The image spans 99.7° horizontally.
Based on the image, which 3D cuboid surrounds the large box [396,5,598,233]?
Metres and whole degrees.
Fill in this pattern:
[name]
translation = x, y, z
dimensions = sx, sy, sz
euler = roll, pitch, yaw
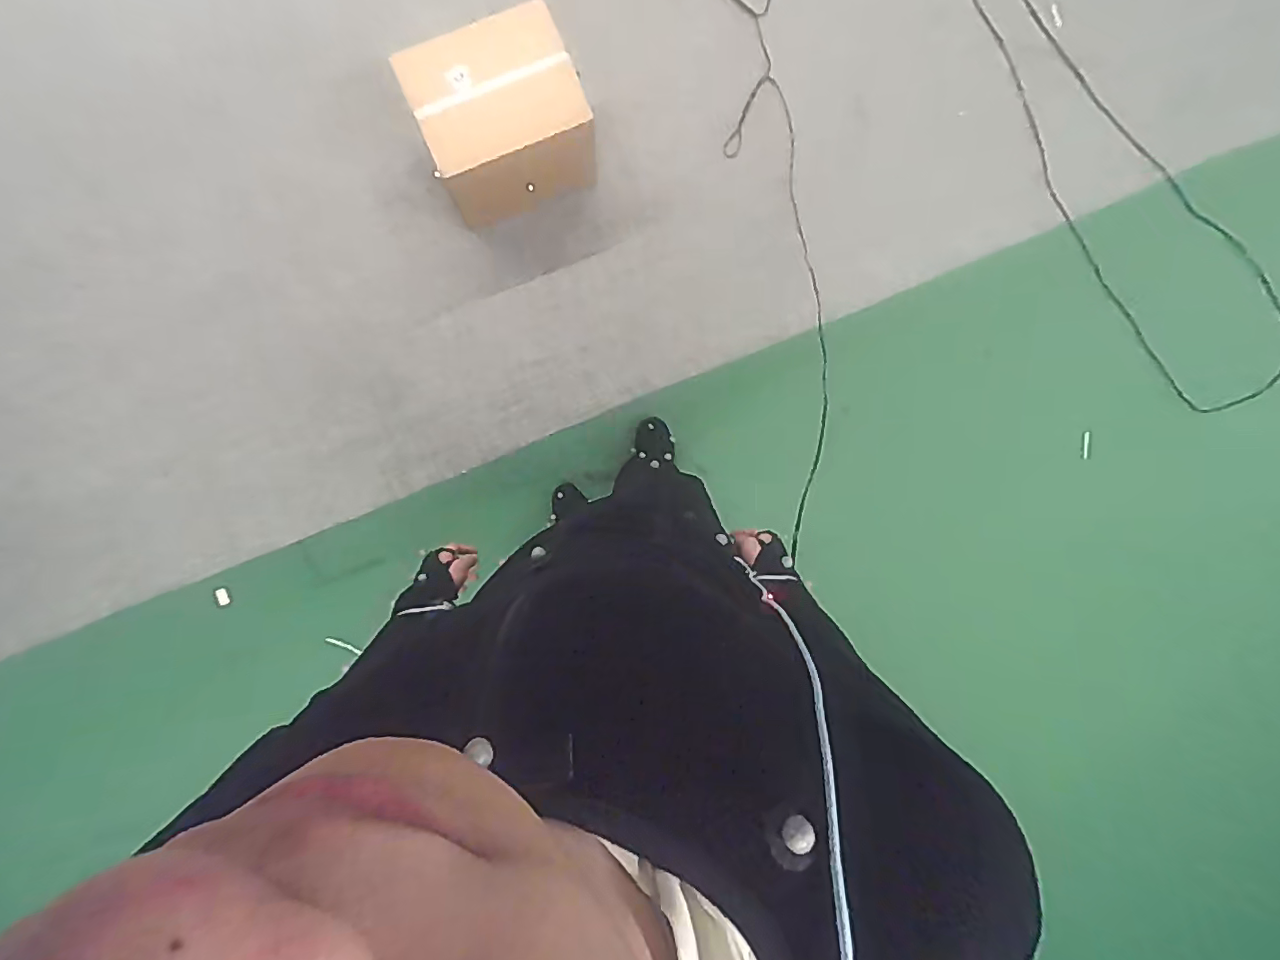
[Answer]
[large box]
translation = -0.358, -0.946, 1.467
dimensions = 0.408, 0.320, 0.320
euler = -24, 92, -2
